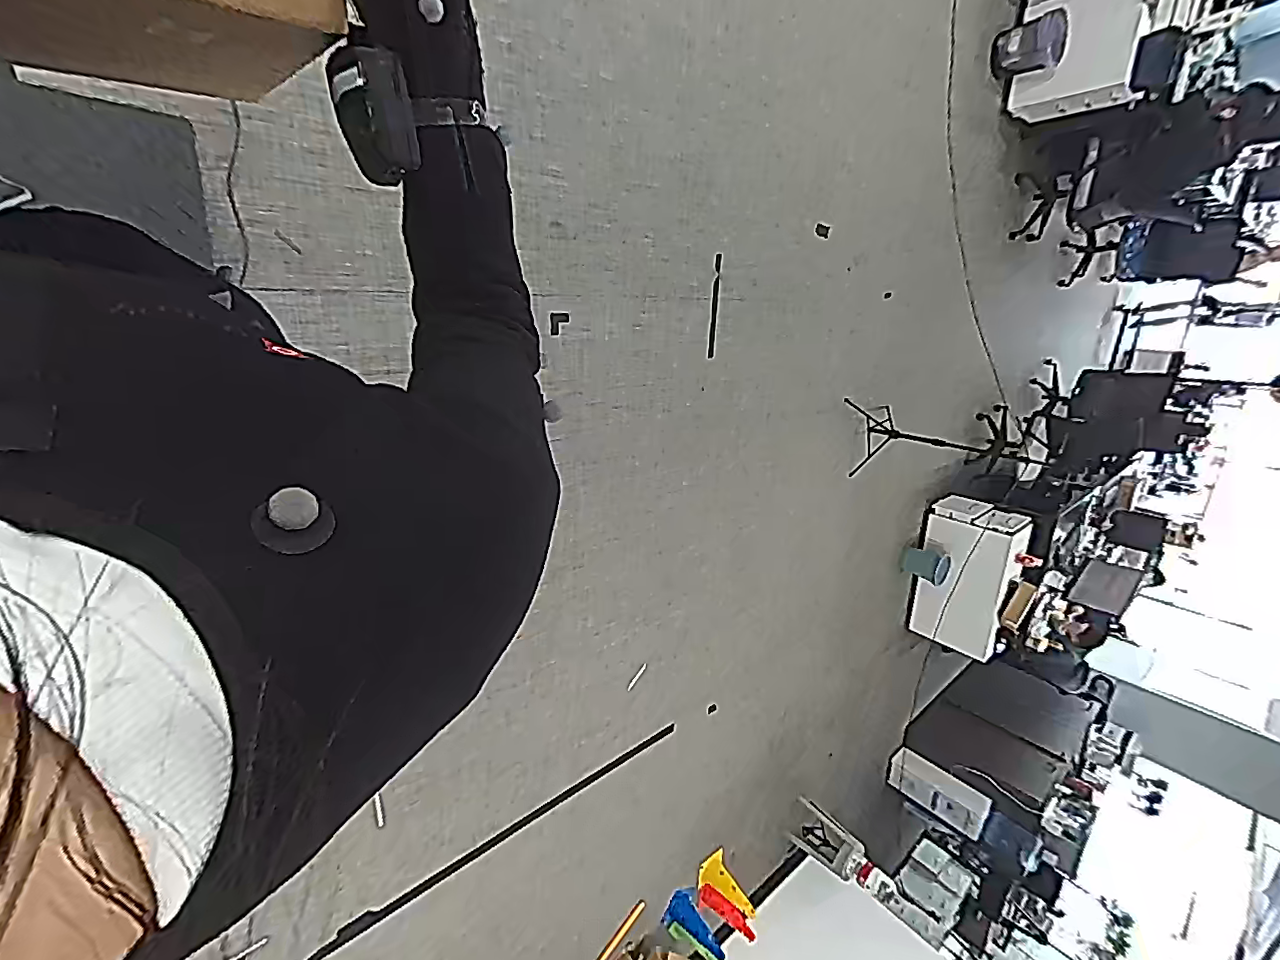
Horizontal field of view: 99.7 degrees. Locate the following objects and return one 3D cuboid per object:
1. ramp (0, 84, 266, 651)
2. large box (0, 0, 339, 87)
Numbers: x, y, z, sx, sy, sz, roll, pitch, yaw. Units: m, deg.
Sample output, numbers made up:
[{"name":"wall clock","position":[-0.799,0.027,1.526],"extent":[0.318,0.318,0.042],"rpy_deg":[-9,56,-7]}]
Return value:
[{"name":"ramp","position":[-1.076,-0.203,1.020],"extent":[0.509,0.206,0.991],"rpy_deg":[-11,111,-37]},{"name":"large box","position":[-0.413,-0.402,0.225],"extent":[0.408,0.320,0.320],"rpy_deg":[-18,124,-38]}]
